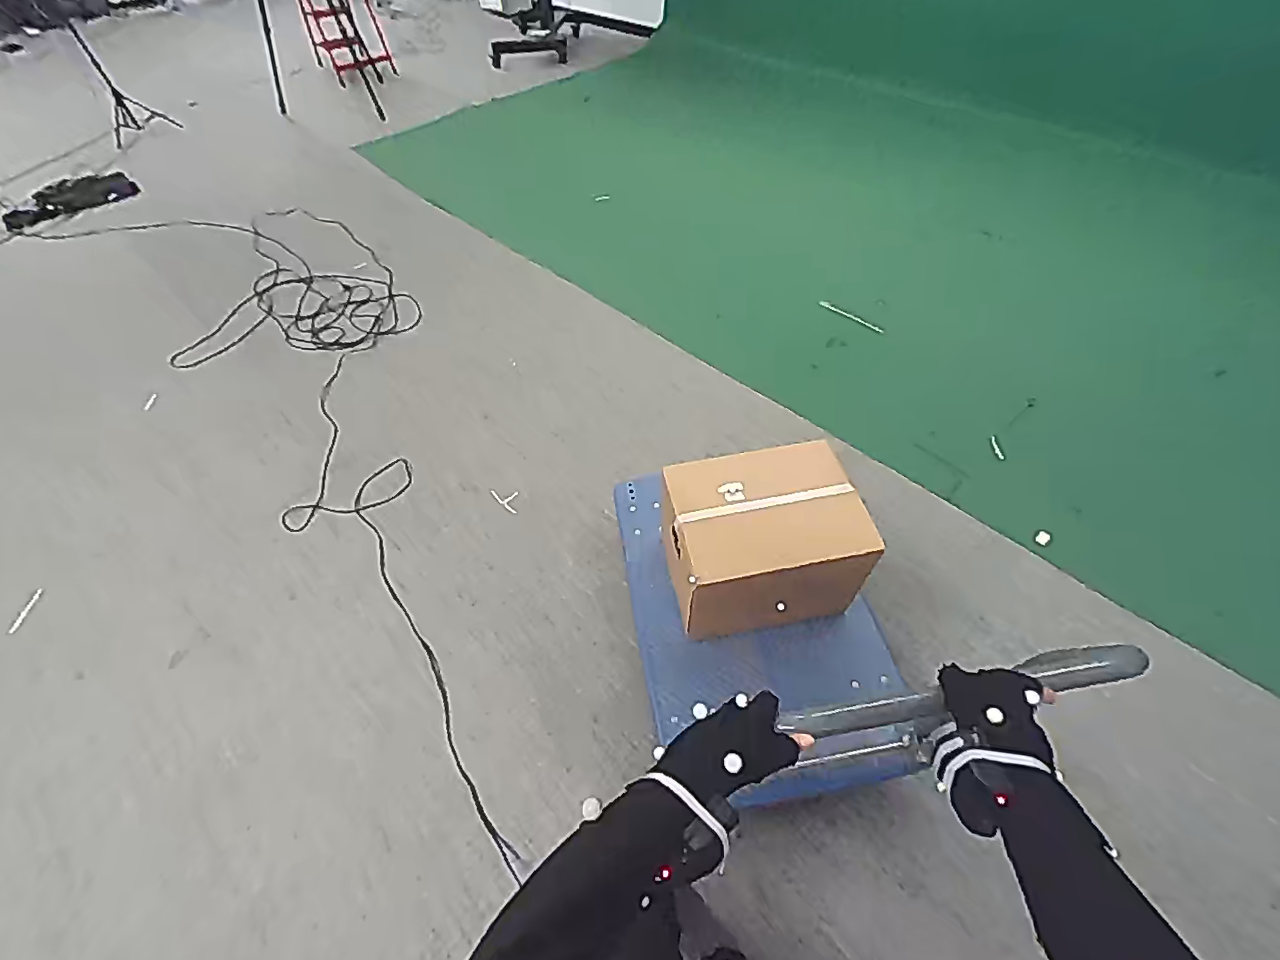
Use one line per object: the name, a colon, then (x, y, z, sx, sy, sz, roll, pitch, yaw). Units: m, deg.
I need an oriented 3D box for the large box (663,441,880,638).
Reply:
large box: (0.283, 0.149, 1.307, 0.408, 0.320, 0.320, -11, 53, -5)
